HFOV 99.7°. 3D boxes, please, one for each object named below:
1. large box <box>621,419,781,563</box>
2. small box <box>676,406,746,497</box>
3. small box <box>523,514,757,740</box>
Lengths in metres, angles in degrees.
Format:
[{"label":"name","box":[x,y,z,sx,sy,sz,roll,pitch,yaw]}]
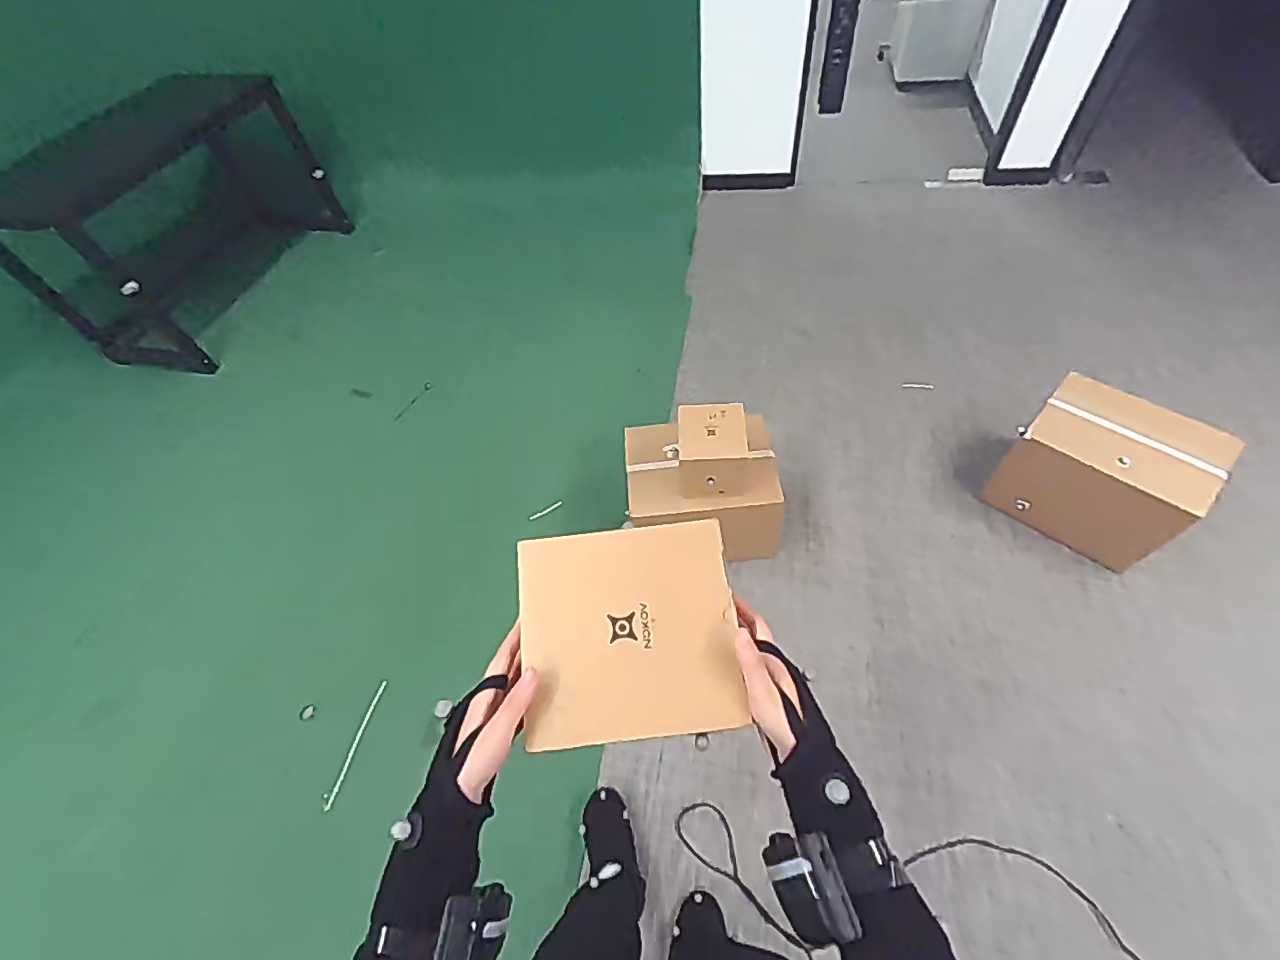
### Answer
[{"label":"large box","box":[0.171,0.055,1.595,0.408,0.320,0.320,-7,53,3]},{"label":"small box","box":[0.176,-0.067,1.376,0.168,0.176,0.179,-1,55,4]},{"label":"small box","box":[-0.004,0.143,0.504,0.179,0.176,0.168,-6,67,-2]}]
